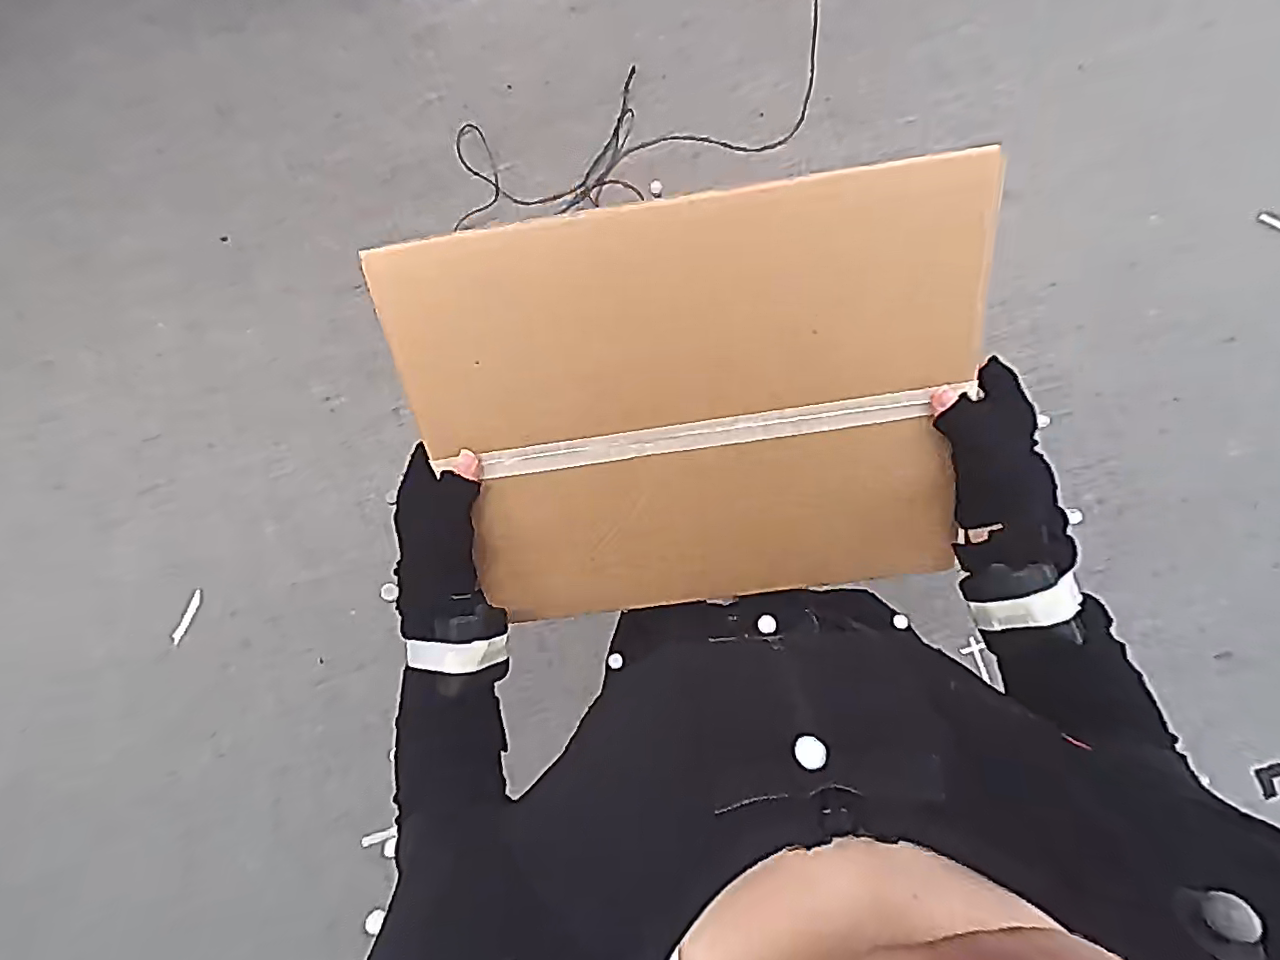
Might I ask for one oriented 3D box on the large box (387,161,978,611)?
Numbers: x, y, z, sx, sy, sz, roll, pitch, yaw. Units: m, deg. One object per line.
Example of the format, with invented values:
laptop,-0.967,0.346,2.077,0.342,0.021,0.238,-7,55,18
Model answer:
large box,0.043,-0.109,0.554,0.408,0.320,0.320,-8,117,3
